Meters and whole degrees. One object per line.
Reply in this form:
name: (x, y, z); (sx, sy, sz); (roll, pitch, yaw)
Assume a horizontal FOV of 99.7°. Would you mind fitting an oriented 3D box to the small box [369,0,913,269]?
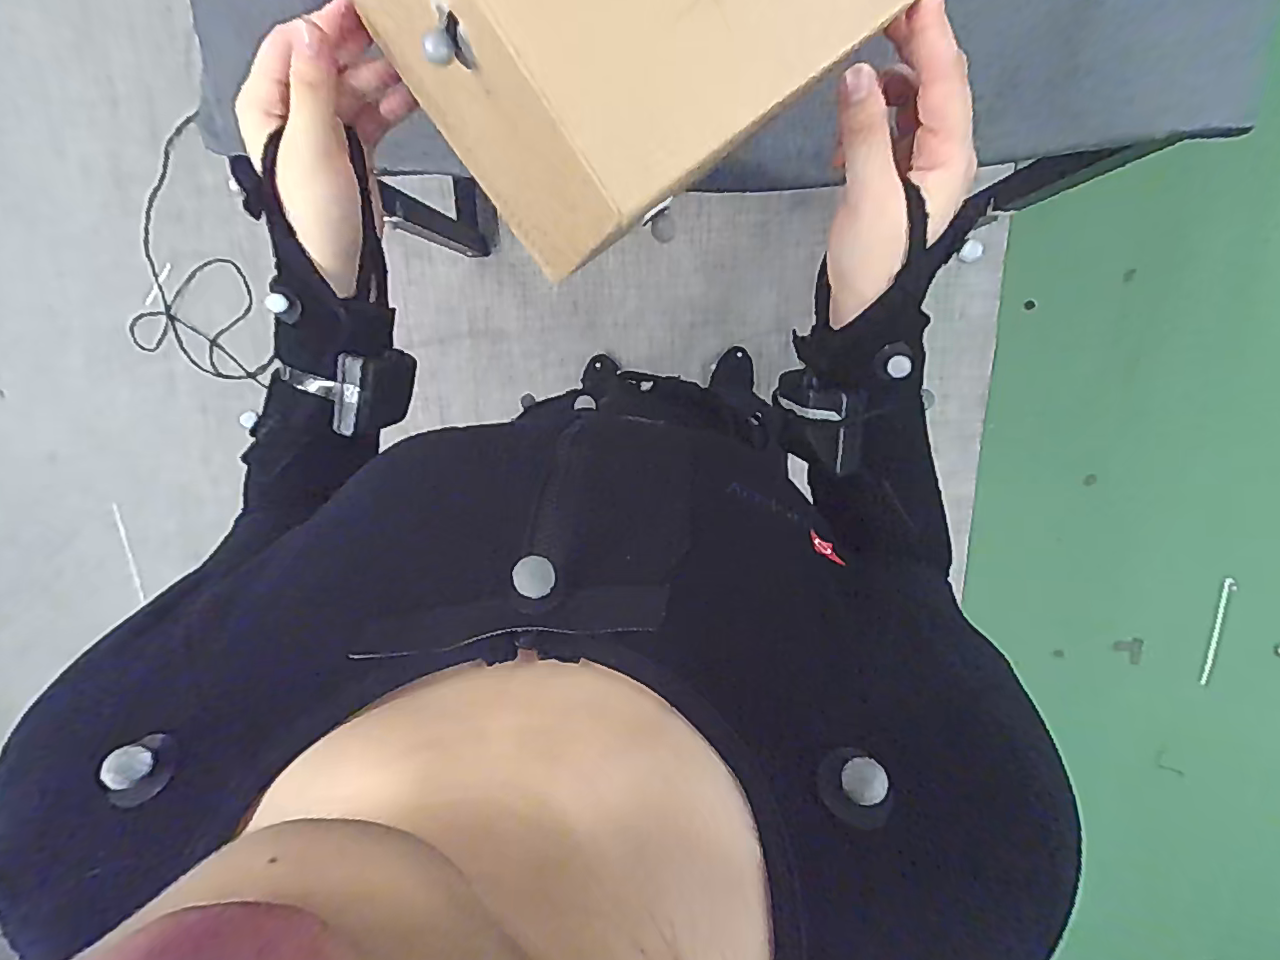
small box: (-0.019, -0.229, 0.260); (0.168, 0.176, 0.179); (-41, 111, -5)
